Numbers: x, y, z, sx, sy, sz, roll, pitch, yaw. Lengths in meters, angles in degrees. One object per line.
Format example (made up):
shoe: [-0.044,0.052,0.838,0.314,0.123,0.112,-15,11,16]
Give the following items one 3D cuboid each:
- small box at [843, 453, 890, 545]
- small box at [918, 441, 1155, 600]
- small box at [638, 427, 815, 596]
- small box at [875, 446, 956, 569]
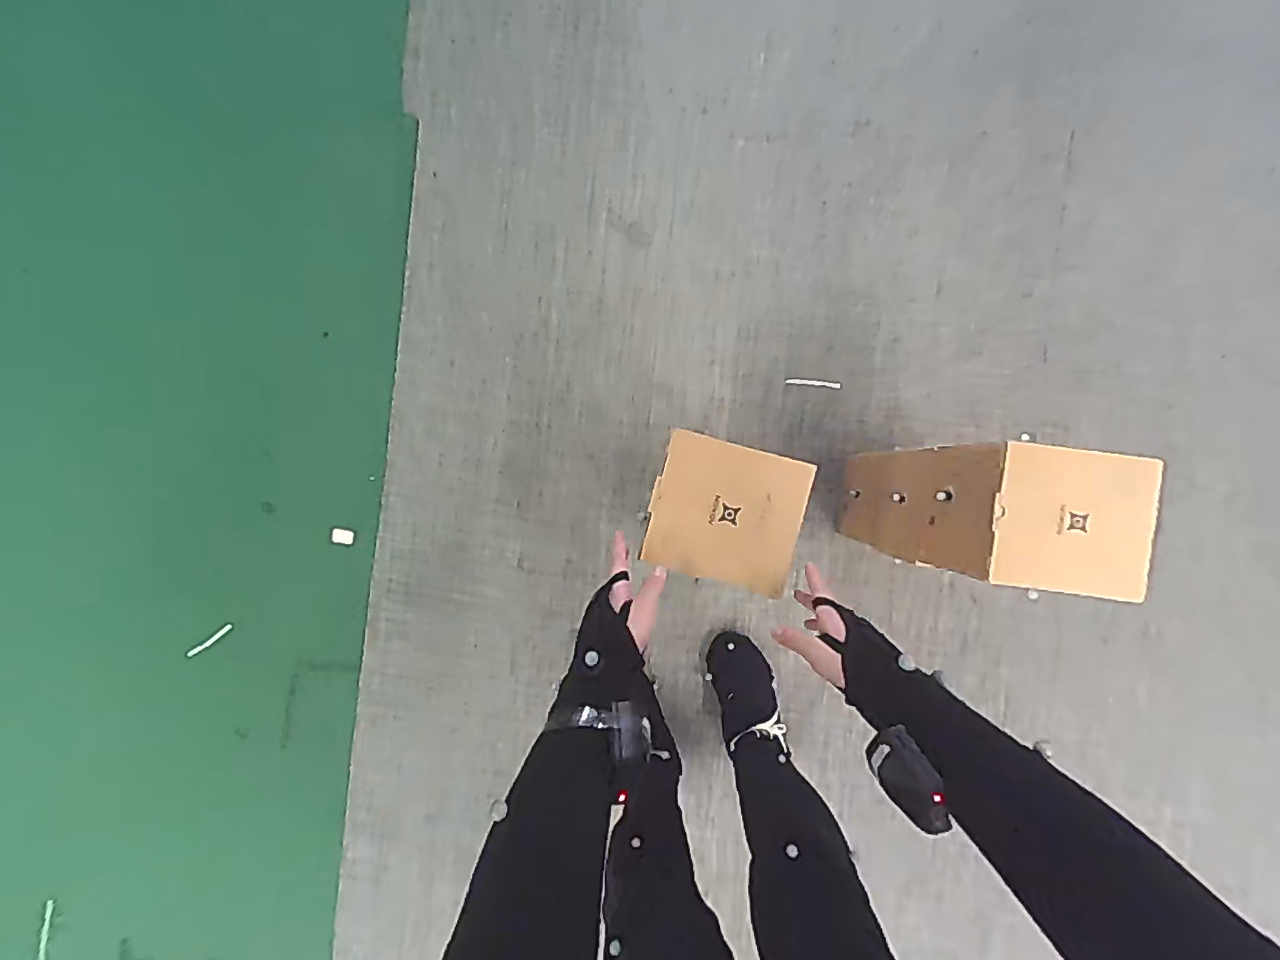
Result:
small box: [0.500,0.045,1.024,0.179,0.176,0.168,7,91,3]
small box: [0.493,0.046,0.698,0.179,0.176,0.168,7,90,4]
small box: [0.107,0.039,0.720,0.179,0.176,0.168,16,90,3]
small box: [0.493,0.048,0.861,0.168,0.176,0.179,8,89,3]
